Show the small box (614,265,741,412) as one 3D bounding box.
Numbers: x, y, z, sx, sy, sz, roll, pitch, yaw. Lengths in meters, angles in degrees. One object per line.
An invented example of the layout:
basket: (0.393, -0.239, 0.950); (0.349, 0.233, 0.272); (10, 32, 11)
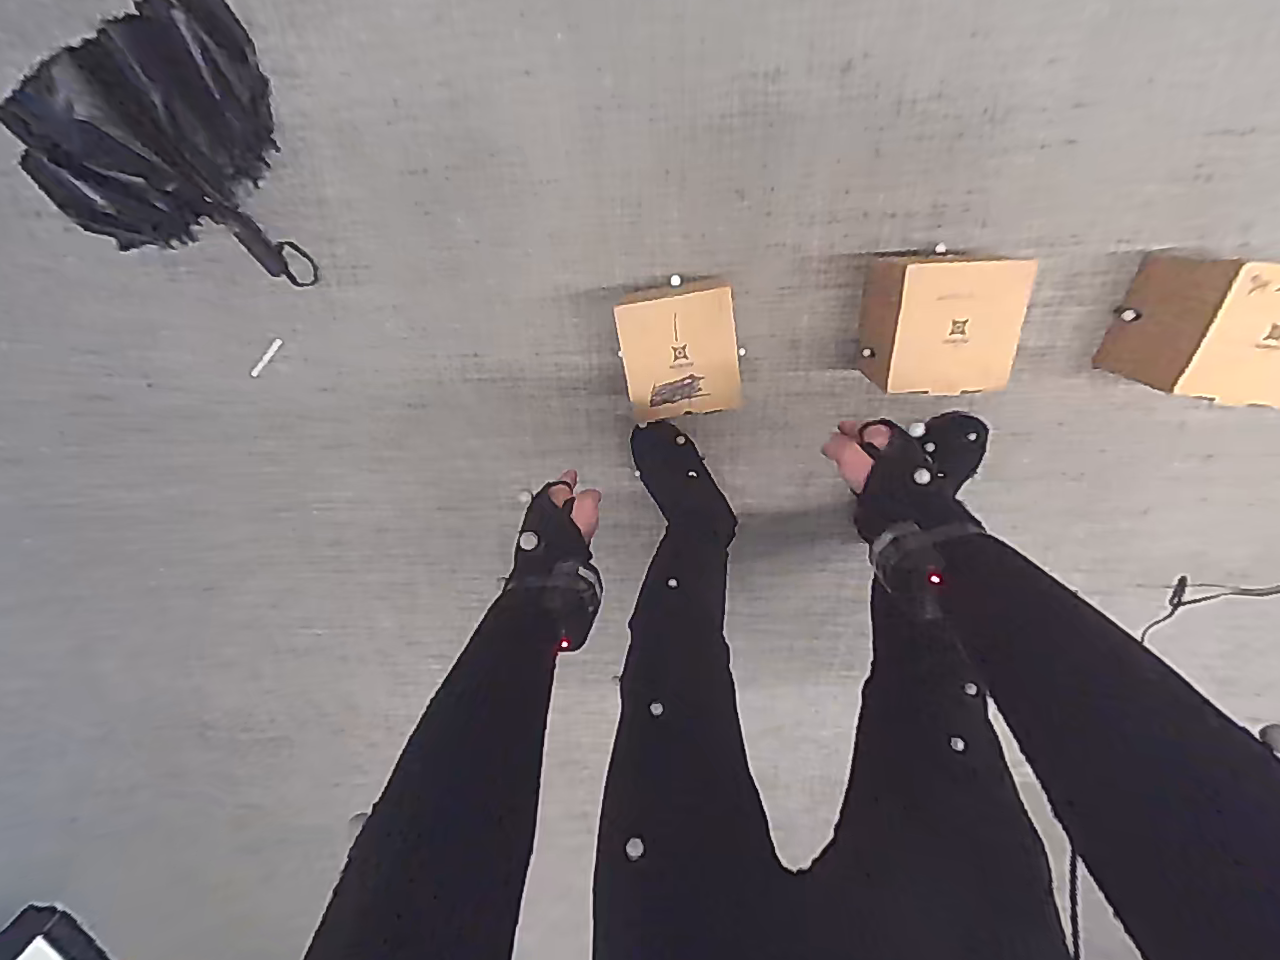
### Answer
small box: (0.063, -0.222, 0.835); (0.168, 0.176, 0.179); (-7, 115, 8)

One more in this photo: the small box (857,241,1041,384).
small box: (0.431, -0.248, 0.791); (0.168, 0.176, 0.179); (-1, 115, 4)

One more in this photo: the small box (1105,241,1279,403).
small box: (0.819, -0.228, 0.764); (0.168, 0.176, 0.179); (9, 118, 2)
